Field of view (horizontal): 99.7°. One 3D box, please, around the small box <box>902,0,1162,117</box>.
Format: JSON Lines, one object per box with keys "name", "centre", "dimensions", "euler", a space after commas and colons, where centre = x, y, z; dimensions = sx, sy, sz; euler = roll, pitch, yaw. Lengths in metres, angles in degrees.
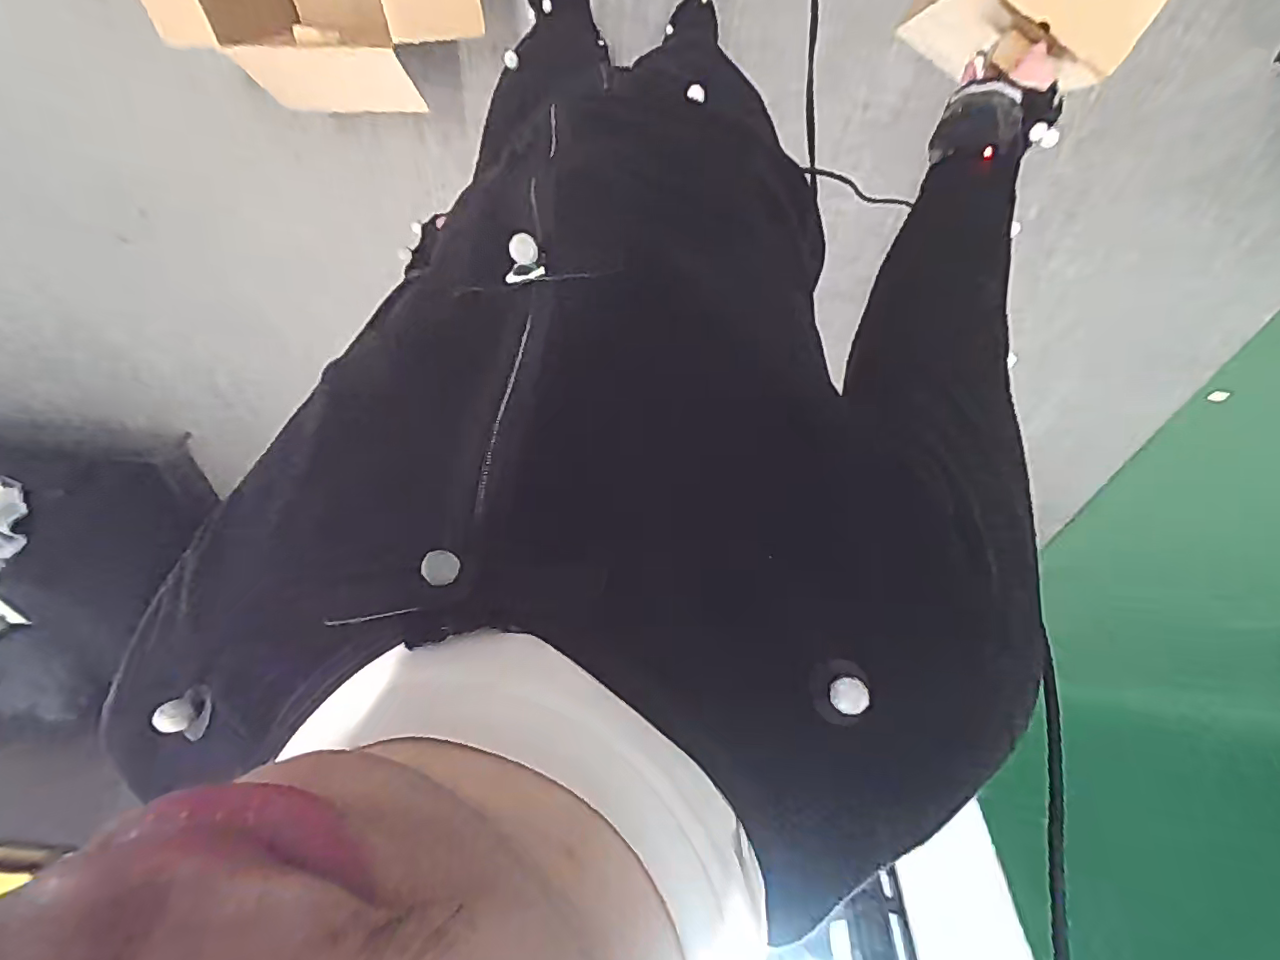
{"name": "small box", "centre": [0.396, -0.501, 0.538], "dimensions": [0.168, 0.176, 0.179], "euler": [27, 112, -13]}
